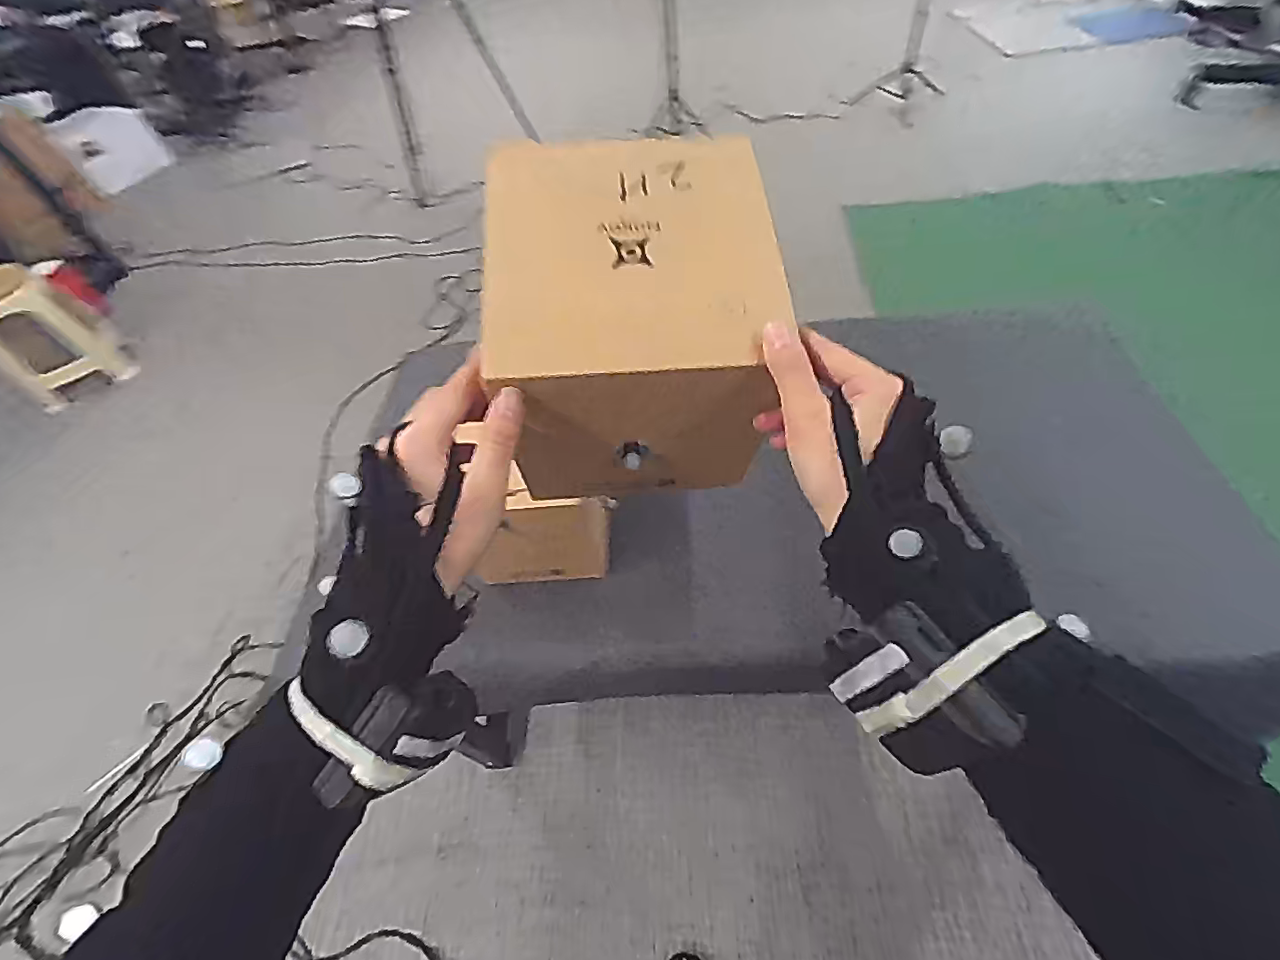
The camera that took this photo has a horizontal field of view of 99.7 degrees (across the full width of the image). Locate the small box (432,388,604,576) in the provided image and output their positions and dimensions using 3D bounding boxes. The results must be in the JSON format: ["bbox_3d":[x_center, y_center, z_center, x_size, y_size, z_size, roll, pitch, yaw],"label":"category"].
[{"bbox_3d":[-0.140,0.006,0.695,0.168,0.176,0.179,-4,52,4],"label":"small box"}]
